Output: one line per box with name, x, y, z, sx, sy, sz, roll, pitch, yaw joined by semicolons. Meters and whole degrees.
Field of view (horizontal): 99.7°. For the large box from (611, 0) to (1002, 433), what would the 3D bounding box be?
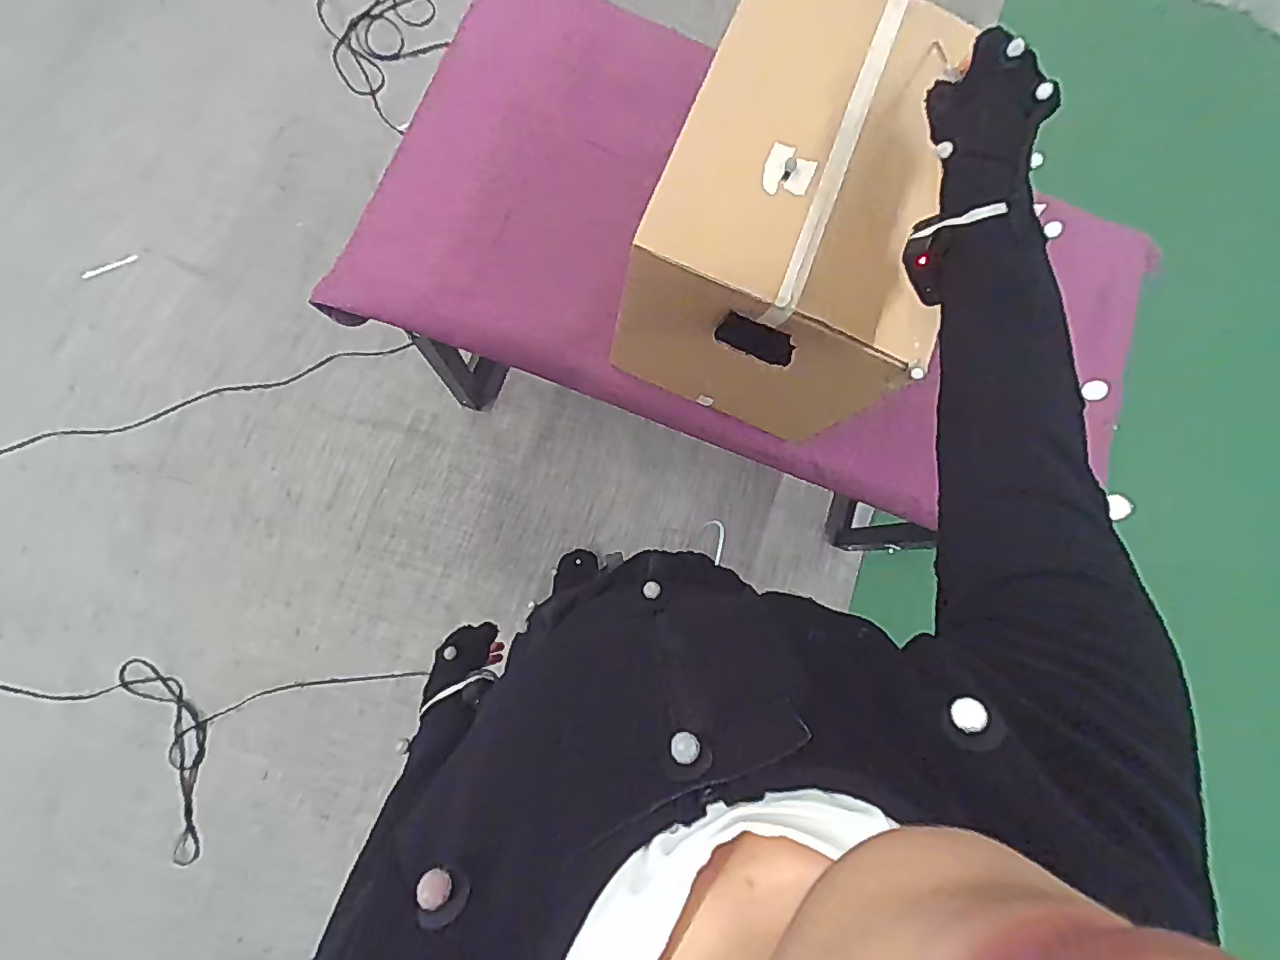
large box;0.184;-0.327;0.714;0.320;0.320;0.408;23;80;-3
